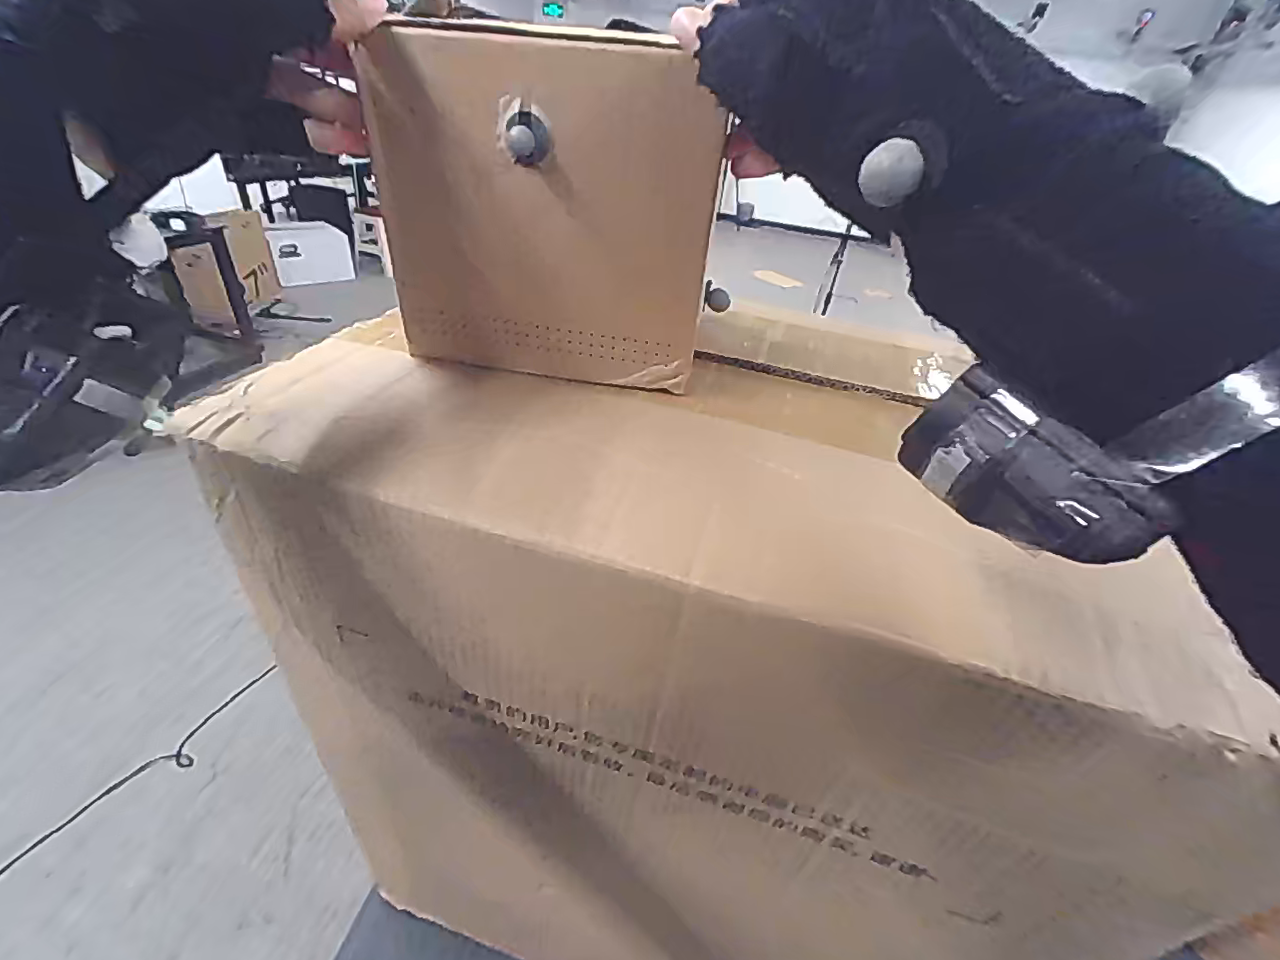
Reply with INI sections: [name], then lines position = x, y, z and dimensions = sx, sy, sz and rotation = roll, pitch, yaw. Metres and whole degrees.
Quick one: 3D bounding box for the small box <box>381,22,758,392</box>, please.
[small box]
position = -0.029, -0.174, 0.350
dimensions = 0.179, 0.176, 0.168
rotation = 10, 40, 3
